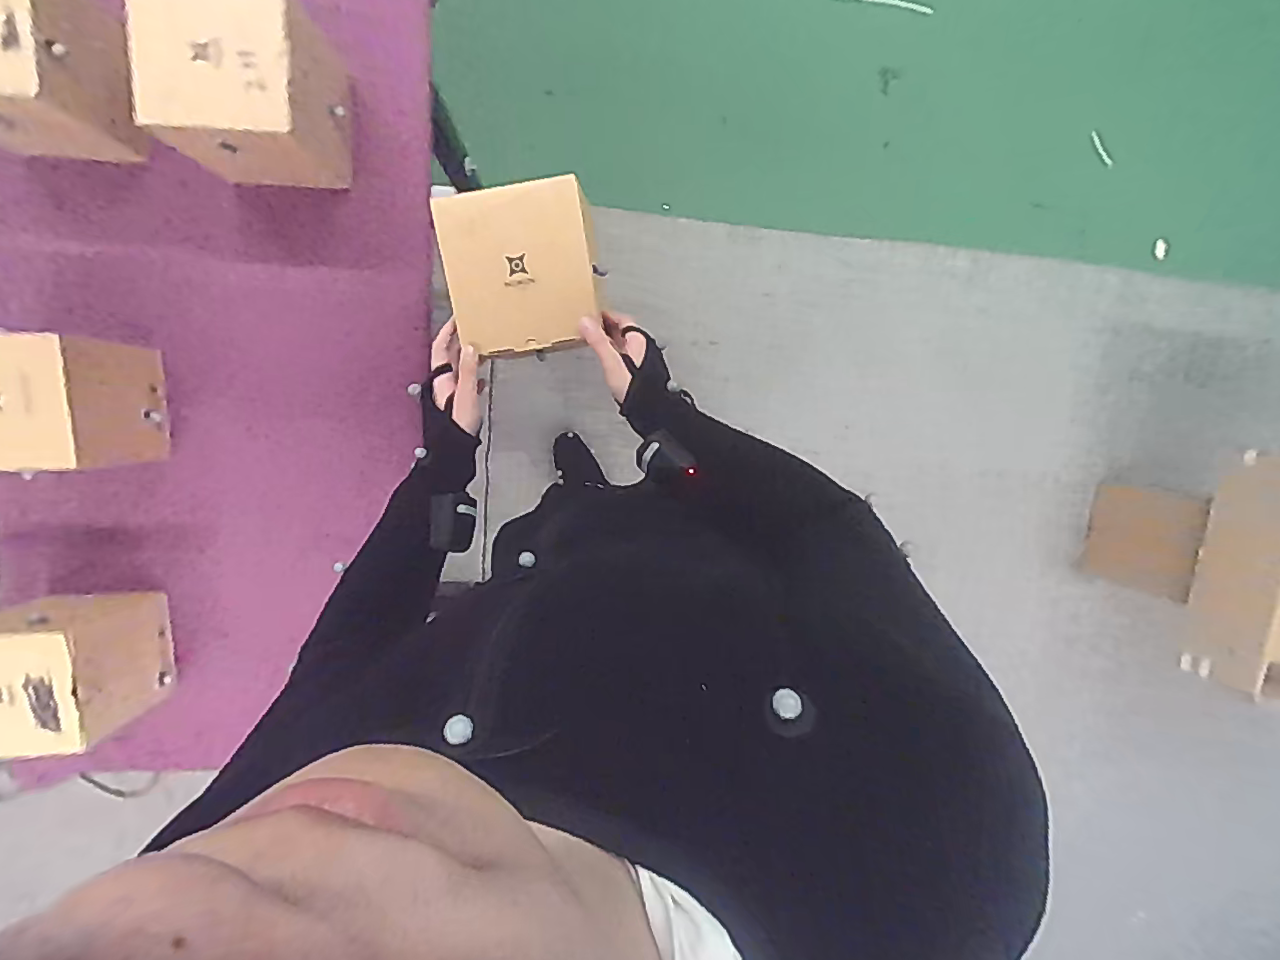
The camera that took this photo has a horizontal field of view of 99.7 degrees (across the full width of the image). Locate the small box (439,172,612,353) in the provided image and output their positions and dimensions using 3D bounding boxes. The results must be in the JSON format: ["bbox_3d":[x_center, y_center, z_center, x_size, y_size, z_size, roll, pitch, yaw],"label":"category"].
[{"bbox_3d":[-0.128,-0.257,0.679,0.168,0.176,0.179,-8,104,2],"label":"small box"}]

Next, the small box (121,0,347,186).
[{"bbox_3d":[-0.509,-0.503,0.702,0.179,0.176,0.168,1,97,-5],"label":"small box"}]

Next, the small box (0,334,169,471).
[{"bbox_3d":[-0.791,-0.100,0.722,0.179,0.176,0.168,-1,97,-7],"label":"small box"}]

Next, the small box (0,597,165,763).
[{"bbox_3d":[-0.815,0.269,0.758,0.179,0.176,0.168,-2,96,-5],"label":"small box"}]

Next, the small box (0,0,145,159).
[{"bbox_3d":[-0.781,-0.526,0.674,0.179,0.176,0.168,0,97,-6],"label":"small box"}]
